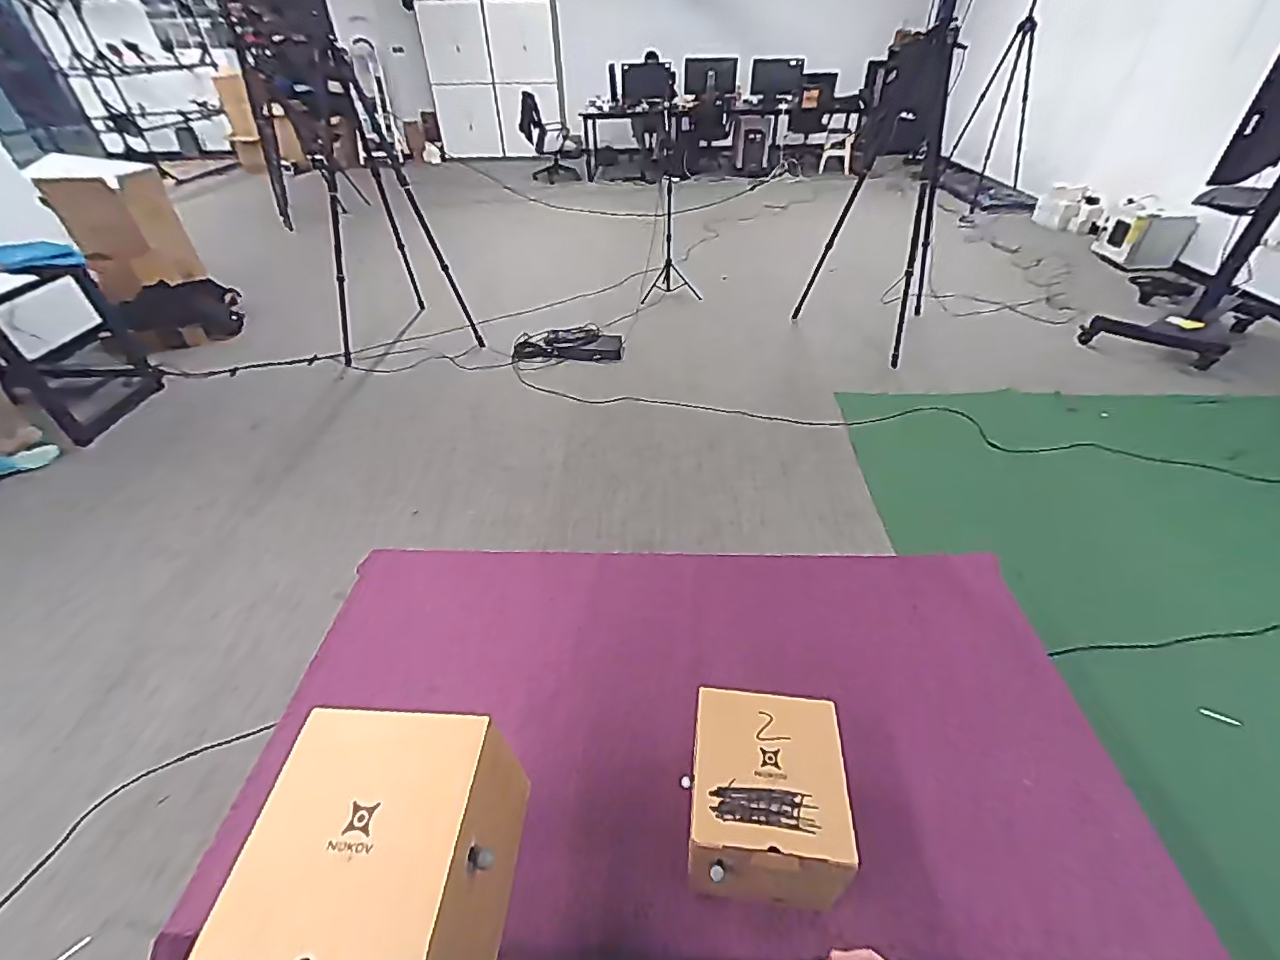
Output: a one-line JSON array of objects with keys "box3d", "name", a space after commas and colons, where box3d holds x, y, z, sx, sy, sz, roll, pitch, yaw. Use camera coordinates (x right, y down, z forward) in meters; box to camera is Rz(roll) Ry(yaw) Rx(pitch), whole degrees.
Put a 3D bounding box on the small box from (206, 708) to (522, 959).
[{"box3d": [-0.214, 0.329, 0.485, 0.168, 0.176, 0.179, 0, 46, 6], "name": "small box"}]
